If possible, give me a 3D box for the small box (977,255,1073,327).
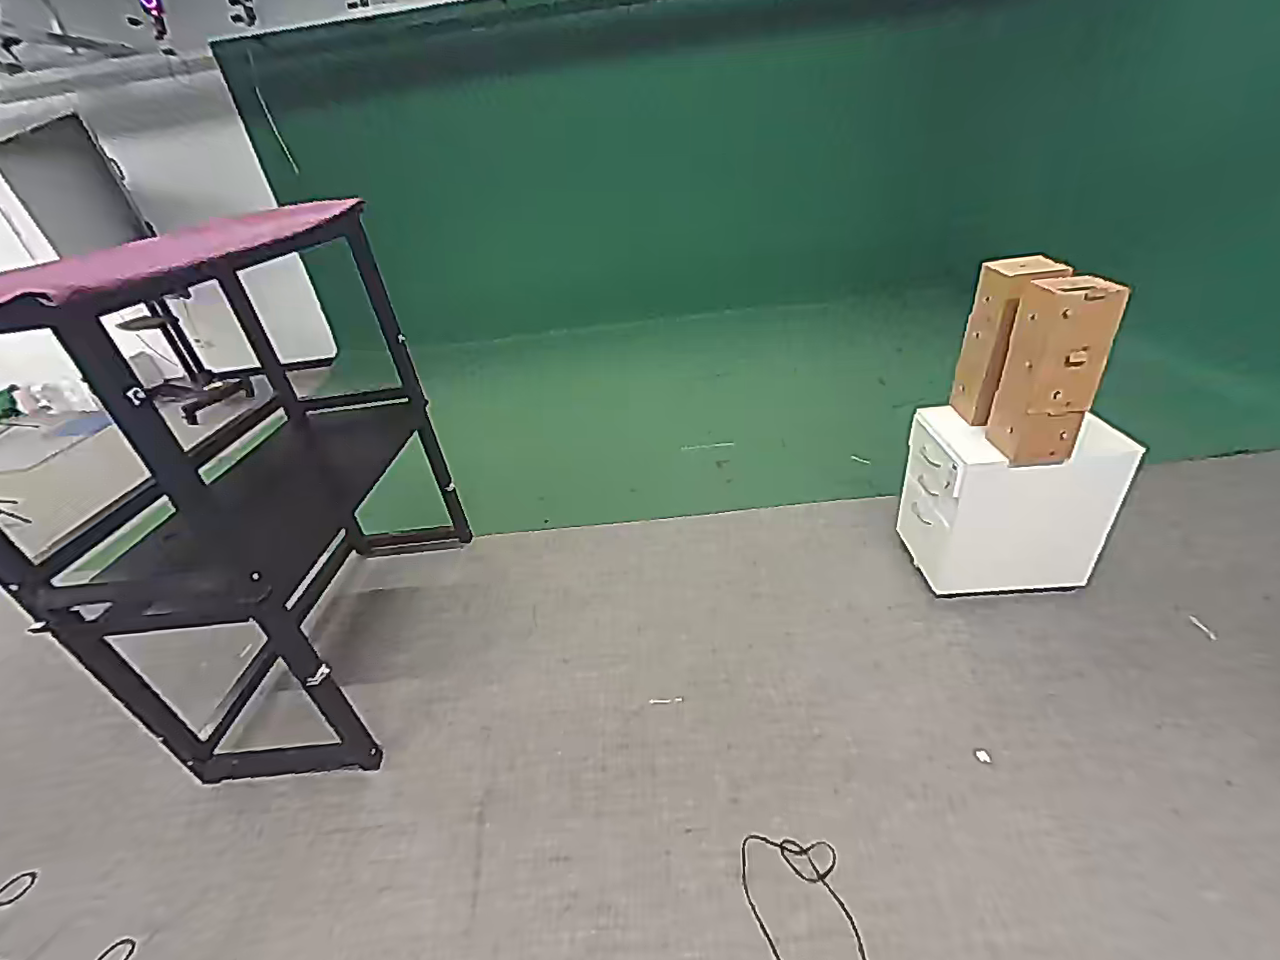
[{"bbox_3d":[1.168,-0.578,1.661,0.179,0.176,0.168,-4,34,5],"label":"small box"}]

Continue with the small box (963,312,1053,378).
[{"bbox_3d":[1.182,-0.444,1.757,0.168,0.176,0.179,-4,35,5],"label":"small box"}]

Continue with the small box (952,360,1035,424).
[{"bbox_3d":[1.196,-0.307,1.846,0.168,0.176,0.179,-5,33,6],"label":"small box"}]

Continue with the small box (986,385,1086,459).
[{"bbox_3d":[1.191,-0.172,1.641,0.168,0.176,0.179,-4,31,4],"label":"small box"}]
